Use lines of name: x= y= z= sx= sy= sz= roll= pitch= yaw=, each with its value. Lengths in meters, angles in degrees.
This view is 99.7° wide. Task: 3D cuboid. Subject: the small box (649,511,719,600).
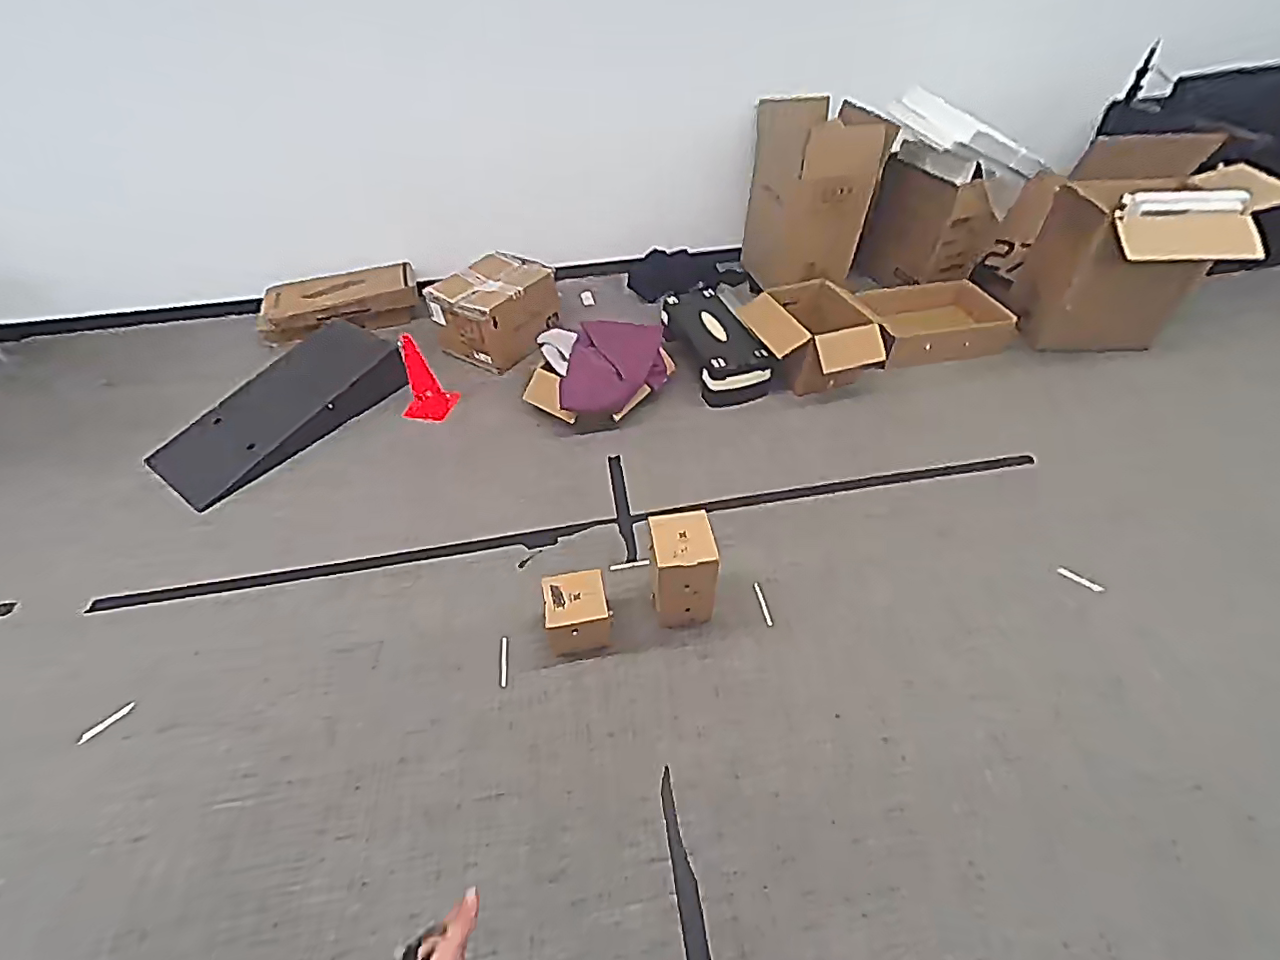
small box: x=0.117 y=0.214 z=1.525 sx=0.168 sy=0.176 sz=0.179 roll=-7 pitch=47 yaw=-4

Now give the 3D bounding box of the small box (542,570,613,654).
small box: x=-0.183 y=0.394 z=1.595 sx=0.179 sy=0.176 sz=0.168 roll=-10 pitch=47 yaw=-7

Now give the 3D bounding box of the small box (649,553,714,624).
small box: x=0.125 y=0.323 z=1.651 sx=0.168 sy=0.176 sz=0.179 roll=-9 pitch=47 yaw=-5
